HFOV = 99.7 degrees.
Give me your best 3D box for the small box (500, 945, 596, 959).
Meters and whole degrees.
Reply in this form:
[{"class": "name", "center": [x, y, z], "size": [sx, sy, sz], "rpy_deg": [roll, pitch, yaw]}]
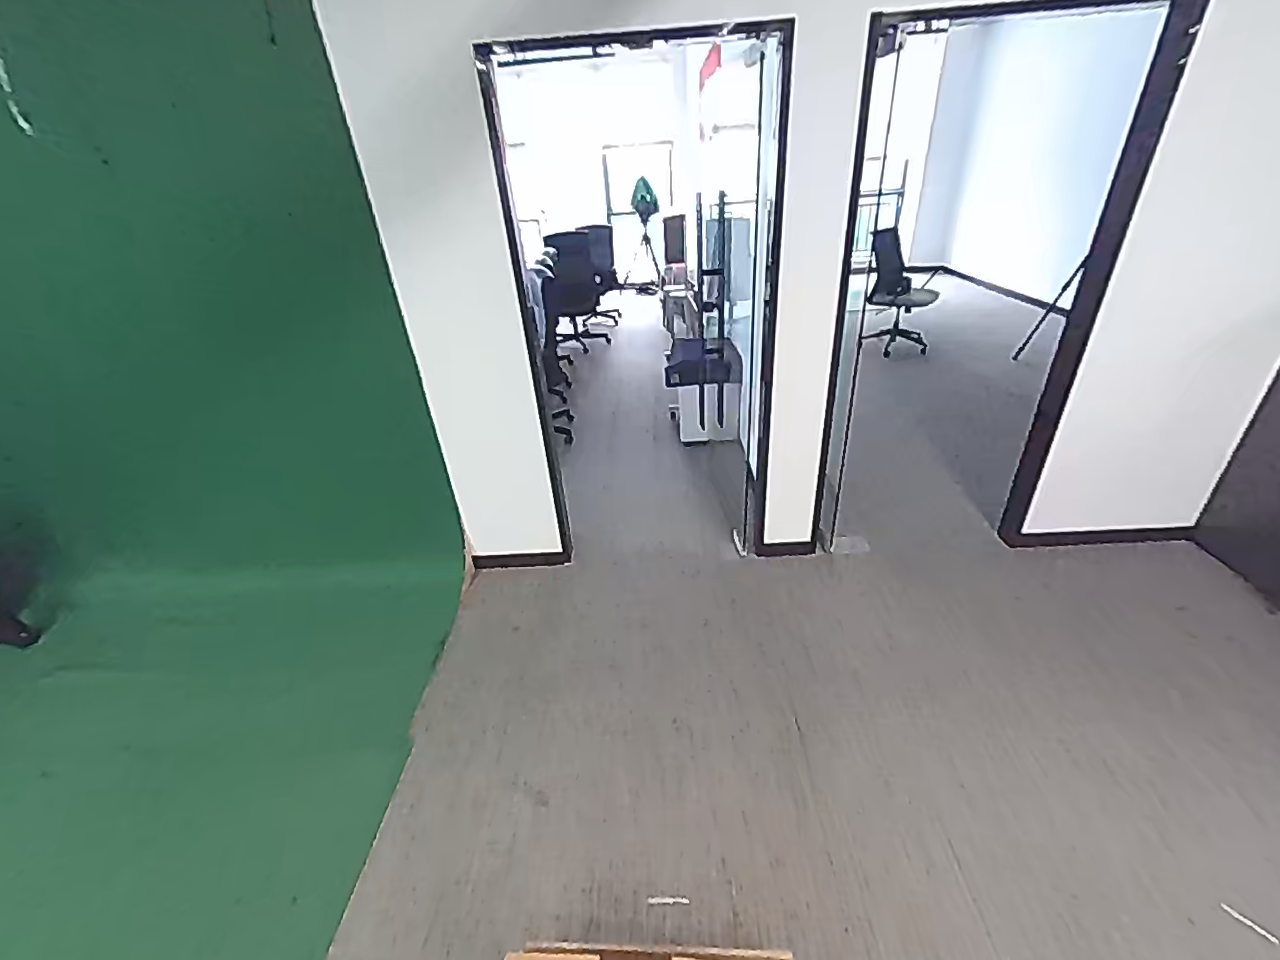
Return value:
[{"class": "small box", "center": [-0.154, 0.908, 0.887], "size": [0.168, 0.176, 0.179], "rpy_deg": [-1, 30, 4]}]
